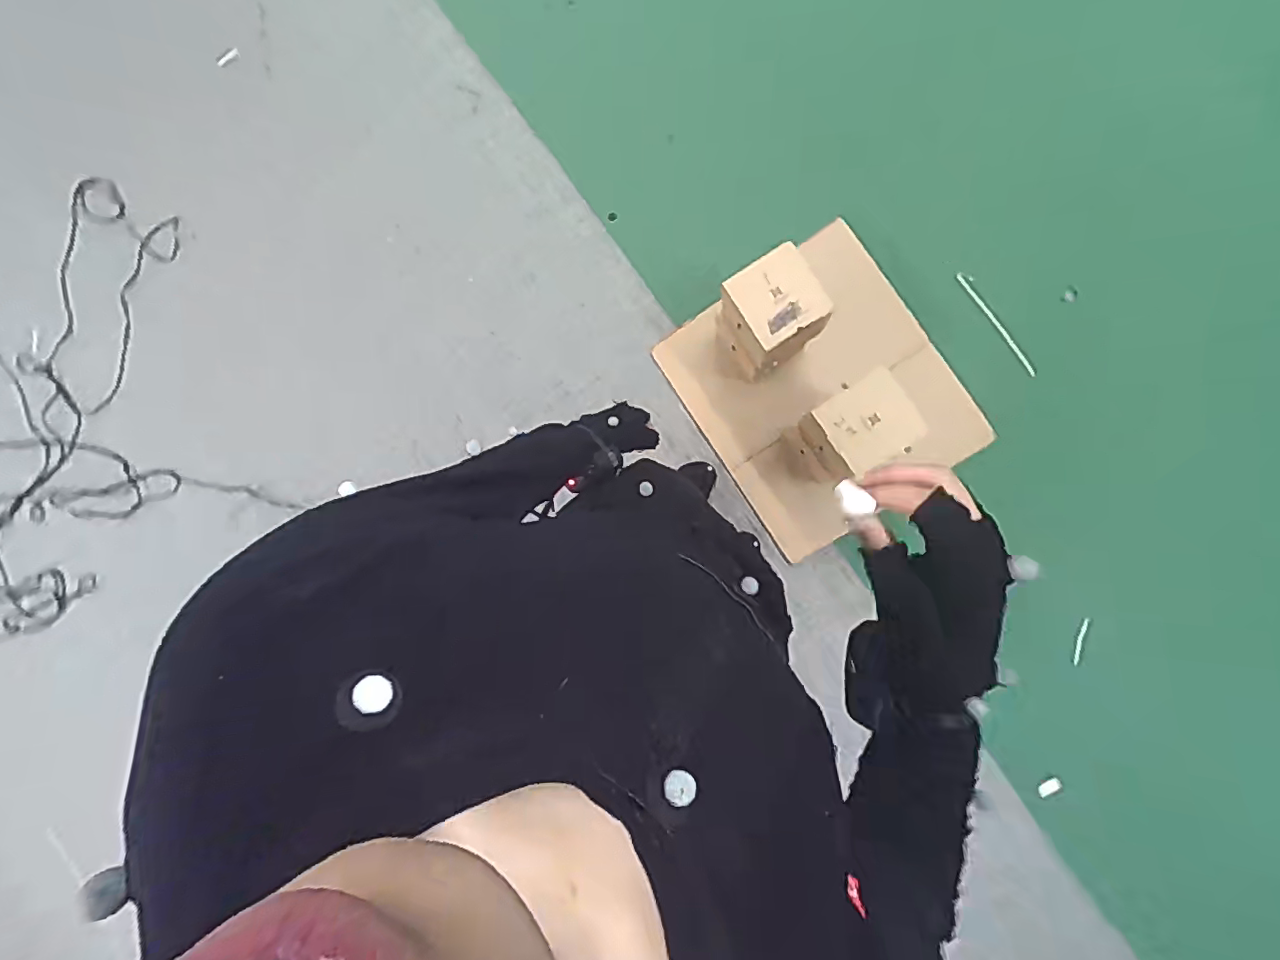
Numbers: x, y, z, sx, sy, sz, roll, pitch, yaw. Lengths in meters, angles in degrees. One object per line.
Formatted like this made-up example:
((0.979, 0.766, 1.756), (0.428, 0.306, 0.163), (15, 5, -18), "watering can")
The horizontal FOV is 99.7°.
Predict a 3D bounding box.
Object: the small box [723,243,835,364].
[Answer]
((0.297, -0.372, 1.185), (0.168, 0.176, 0.179), (-30, 84, 6), "small box")

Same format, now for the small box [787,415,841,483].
((0.484, -0.107, 1.328), (0.179, 0.176, 0.168), (-35, 85, 6), "small box")

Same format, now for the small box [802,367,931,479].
((0.473, -0.114, 1.162), (0.179, 0.176, 0.168), (-33, 85, 6), "small box")
